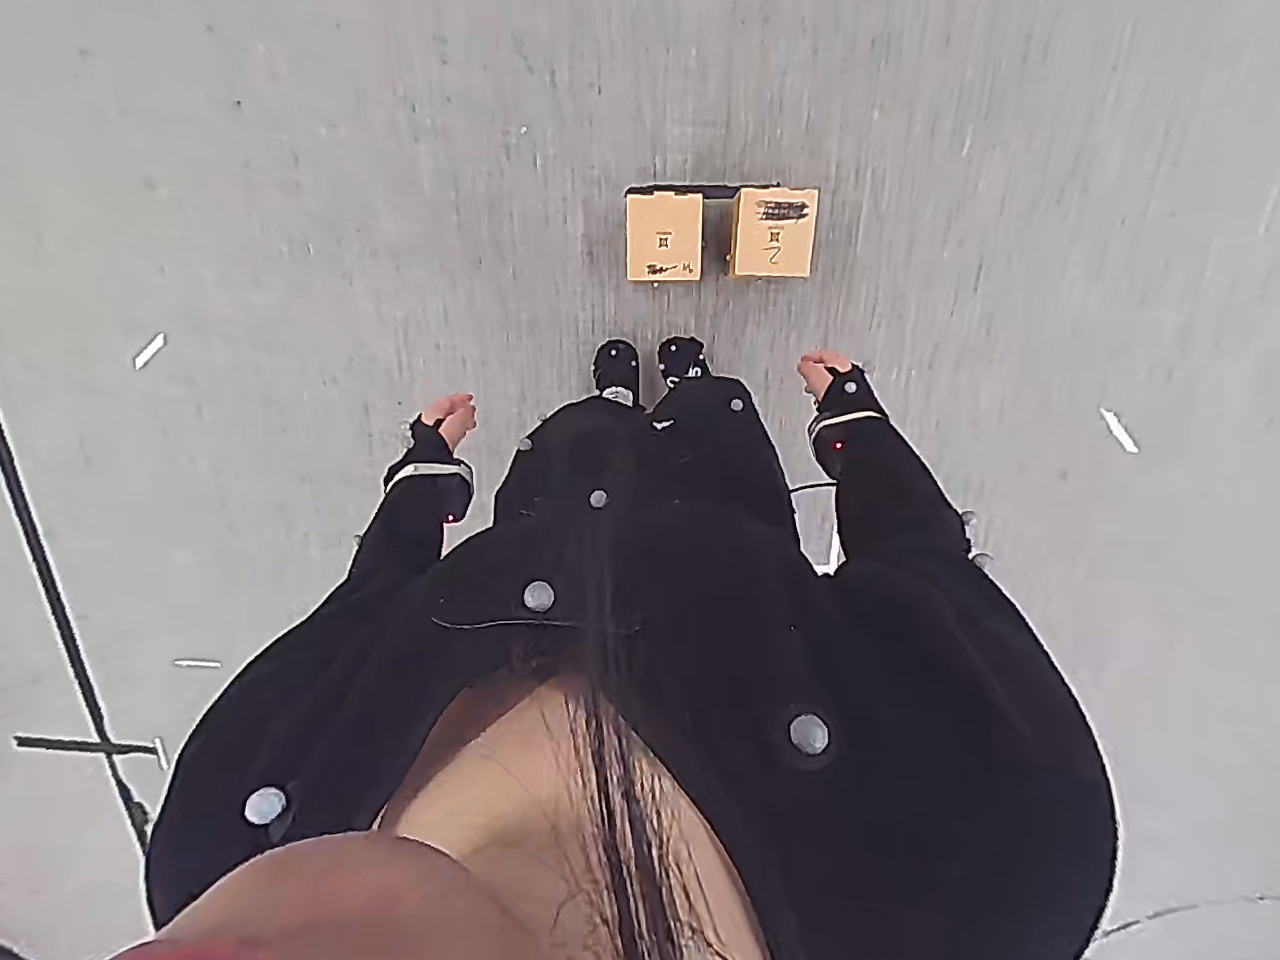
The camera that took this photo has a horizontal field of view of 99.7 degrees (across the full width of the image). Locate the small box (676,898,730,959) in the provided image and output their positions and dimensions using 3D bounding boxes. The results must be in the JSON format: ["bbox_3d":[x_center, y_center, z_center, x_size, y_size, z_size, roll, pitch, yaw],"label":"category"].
[{"bbox_3d":[0.227,1.676,1.980,0.179,0.176,0.168,5,108,2],"label":"small box"}]

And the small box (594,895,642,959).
[{"bbox_3d":[-0.079,1.681,1.993,0.168,0.176,0.179,1,107,2],"label":"small box"}]
